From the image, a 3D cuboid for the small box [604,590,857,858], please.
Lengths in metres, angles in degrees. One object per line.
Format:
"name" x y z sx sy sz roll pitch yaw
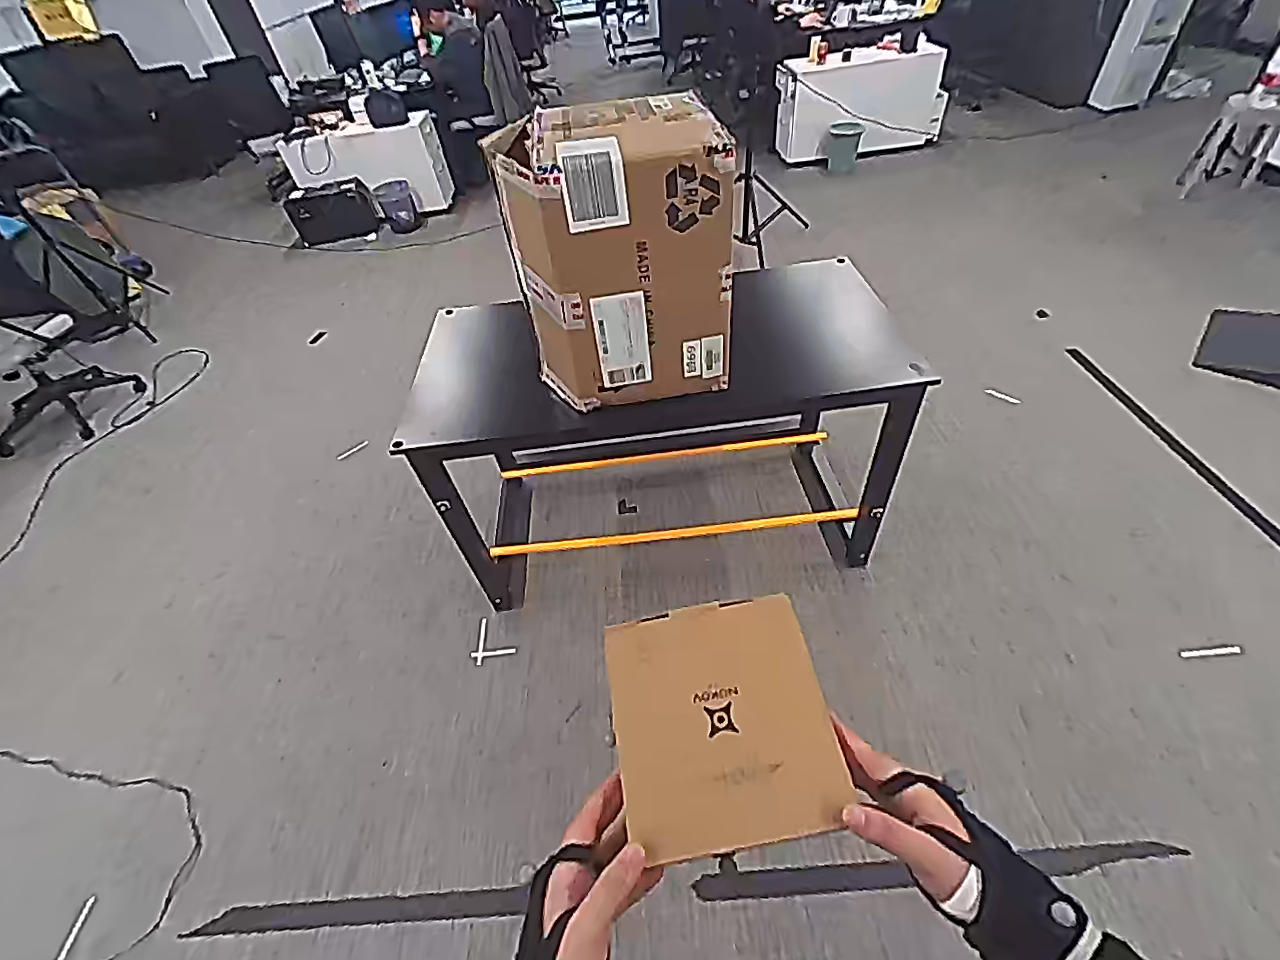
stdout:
"small box" 0.066 0.224 0.488 0.168 0.176 0.179 -10 55 -1
